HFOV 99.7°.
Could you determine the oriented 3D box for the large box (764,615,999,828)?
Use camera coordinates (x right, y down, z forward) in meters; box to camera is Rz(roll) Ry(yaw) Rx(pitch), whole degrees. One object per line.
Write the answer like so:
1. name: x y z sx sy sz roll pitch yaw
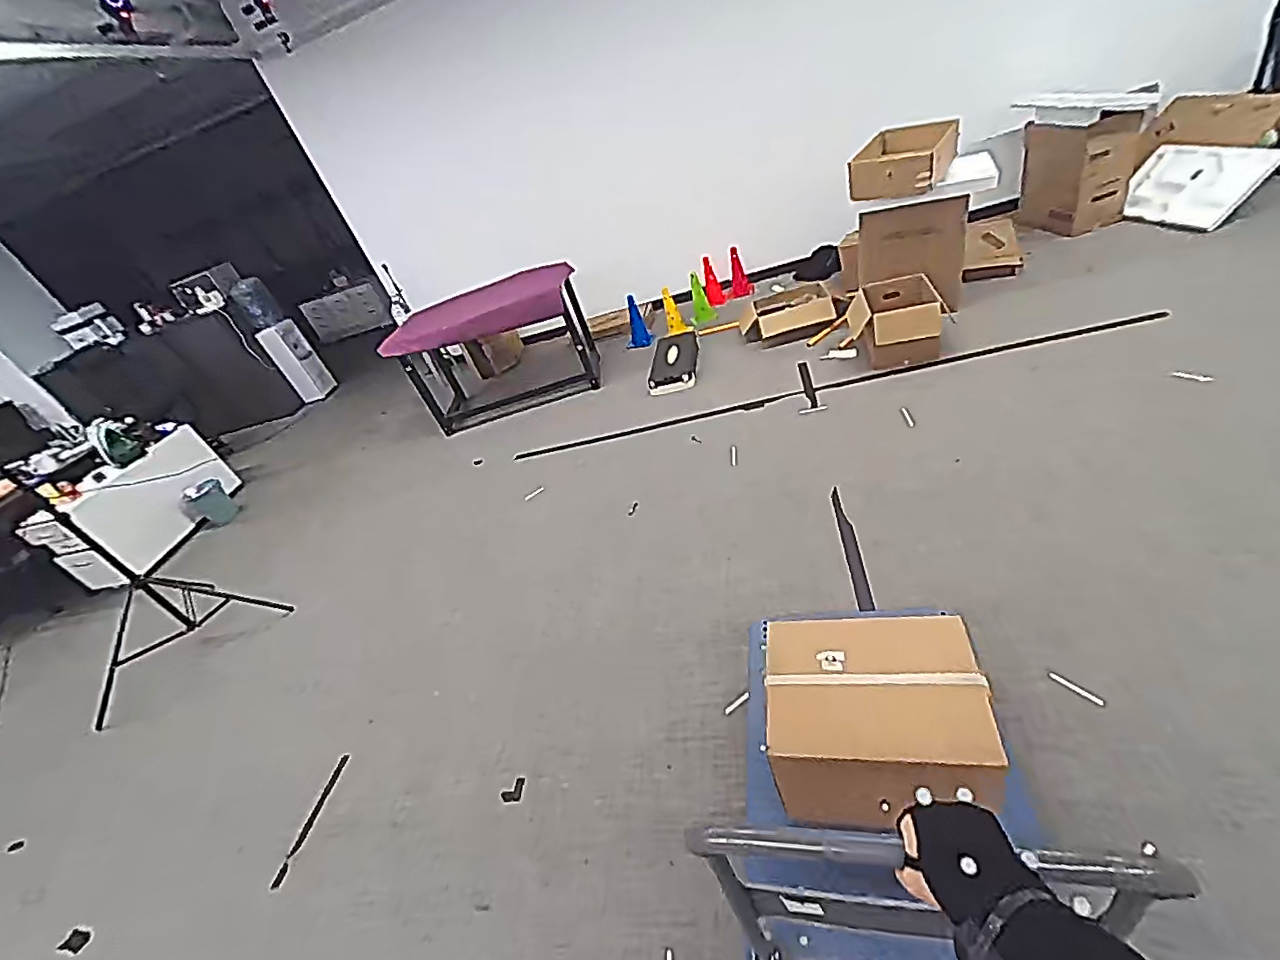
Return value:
1. large box: 0.504 0.529 1.186 0.408 0.320 0.320 -9 35 19
